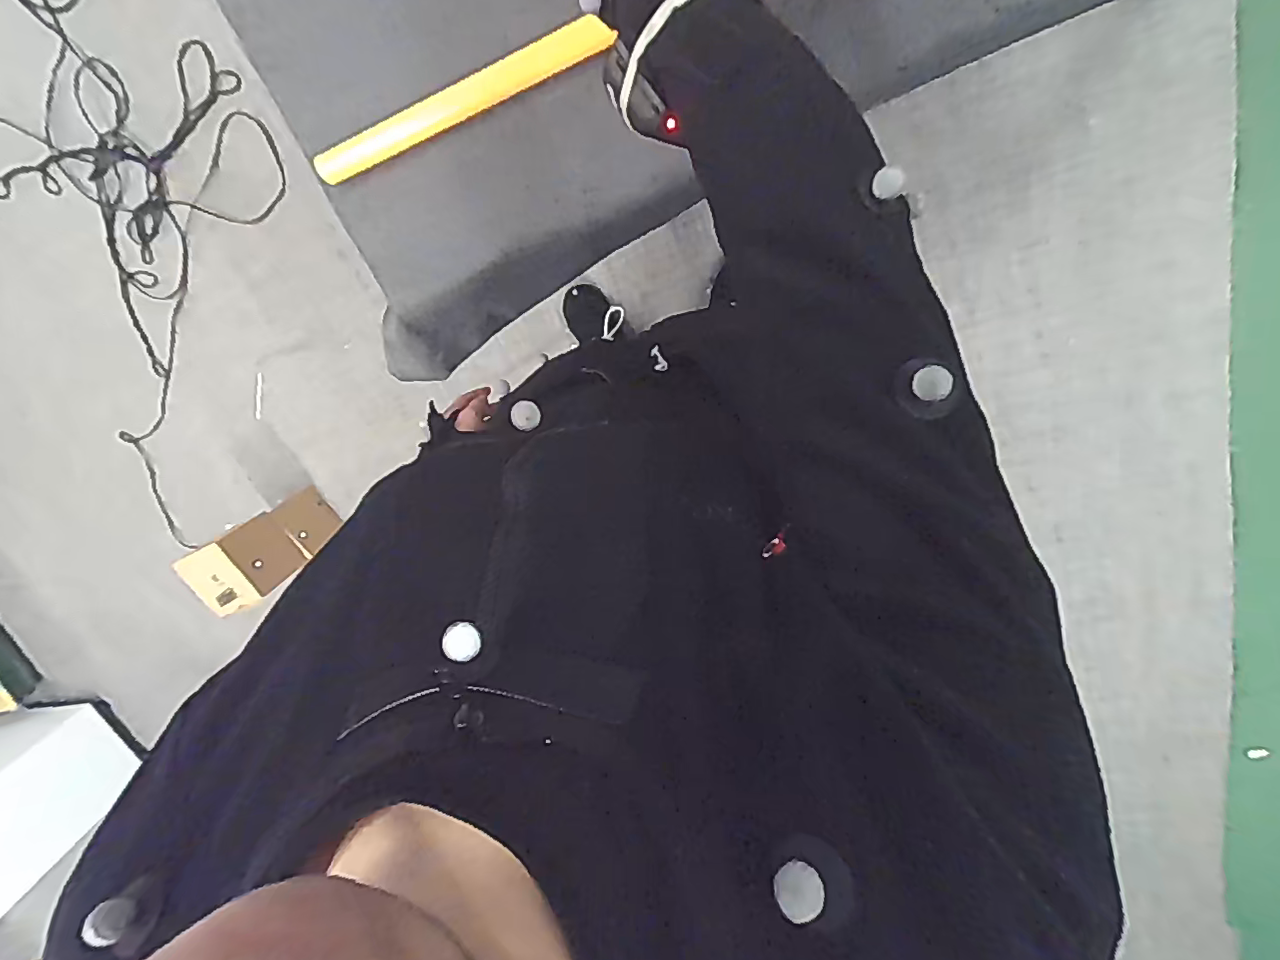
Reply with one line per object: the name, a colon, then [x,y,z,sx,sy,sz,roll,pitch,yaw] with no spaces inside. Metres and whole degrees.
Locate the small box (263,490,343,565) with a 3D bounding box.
small box: [-1.001,0.158,1.548,0.179,0.176,0.168,-27,108,18]

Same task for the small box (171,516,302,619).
small box: [-1.029,0.221,1.398,0.168,0.176,0.179,-23,109,16]
